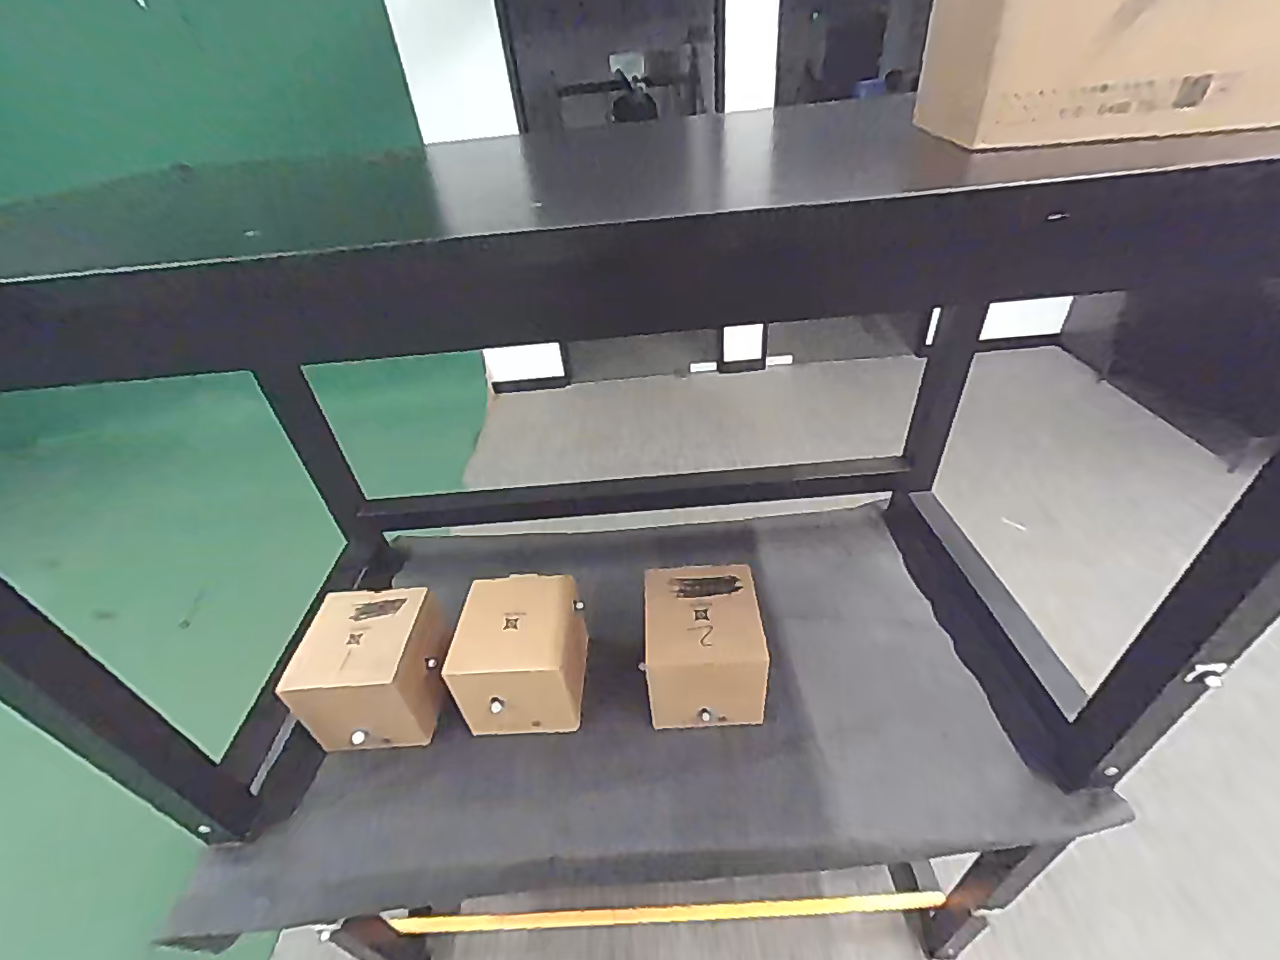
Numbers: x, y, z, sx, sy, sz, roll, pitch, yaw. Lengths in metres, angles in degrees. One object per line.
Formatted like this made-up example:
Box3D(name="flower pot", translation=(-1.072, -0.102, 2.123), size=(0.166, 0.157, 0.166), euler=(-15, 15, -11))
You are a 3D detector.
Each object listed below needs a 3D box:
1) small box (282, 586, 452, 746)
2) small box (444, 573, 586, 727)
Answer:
Box3D(name="small box", translation=(-0.409, 0.291, 0.854), size=(0.168, 0.176, 0.179), euler=(-4, 37, 2))
Box3D(name="small box", translation=(-0.183, 0.272, 0.854), size=(0.168, 0.176, 0.179), euler=(-3, 36, 3))
